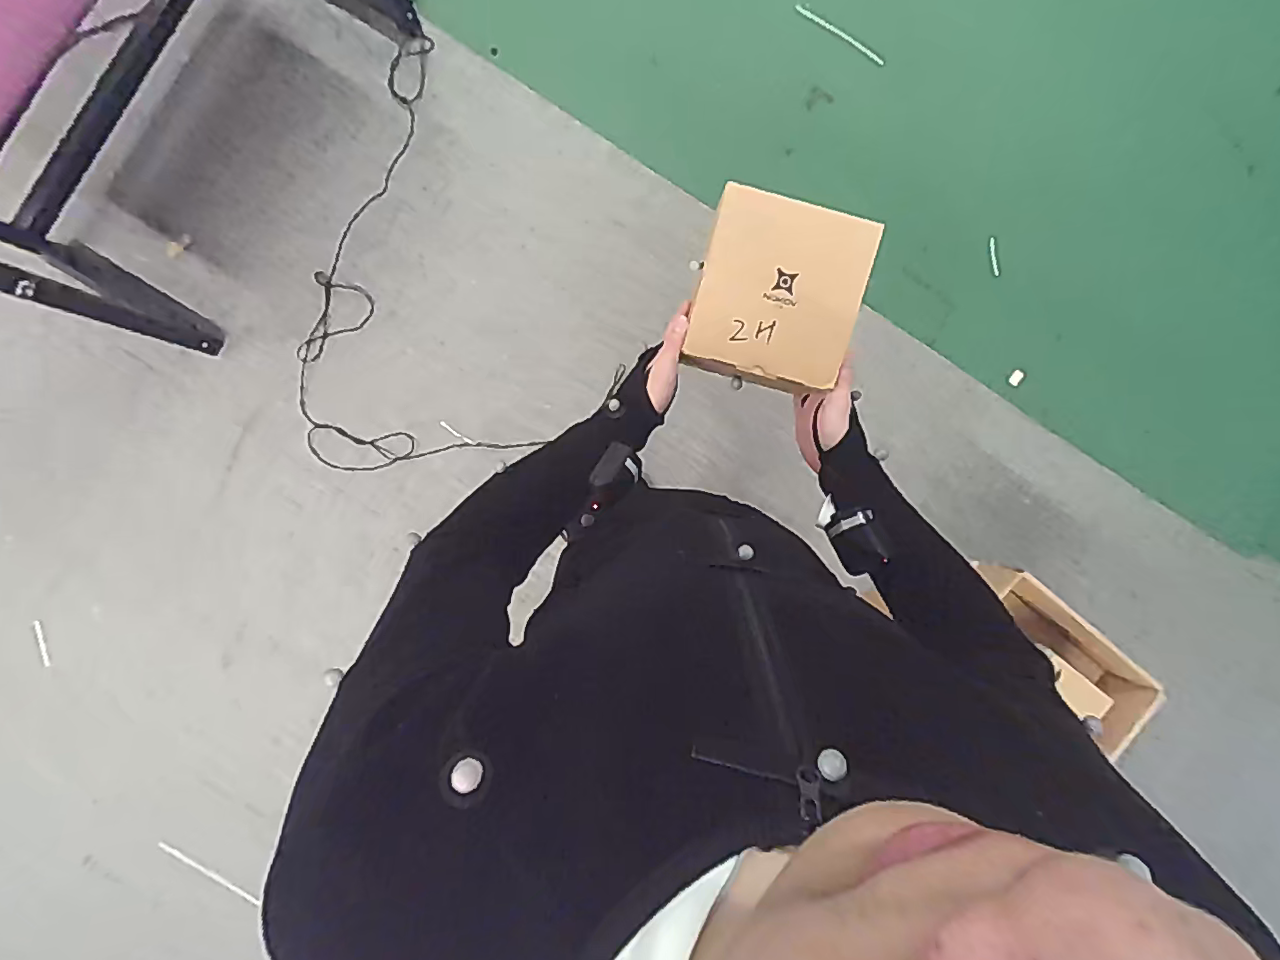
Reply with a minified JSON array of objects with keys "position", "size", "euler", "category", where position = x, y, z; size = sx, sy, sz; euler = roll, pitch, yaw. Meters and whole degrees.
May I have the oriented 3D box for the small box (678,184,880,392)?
[{"position":[0.145,-0.208,0.635],"size":[0.168,0.176,0.179],"euler":[14,100,-2],"category":"small box"}]
